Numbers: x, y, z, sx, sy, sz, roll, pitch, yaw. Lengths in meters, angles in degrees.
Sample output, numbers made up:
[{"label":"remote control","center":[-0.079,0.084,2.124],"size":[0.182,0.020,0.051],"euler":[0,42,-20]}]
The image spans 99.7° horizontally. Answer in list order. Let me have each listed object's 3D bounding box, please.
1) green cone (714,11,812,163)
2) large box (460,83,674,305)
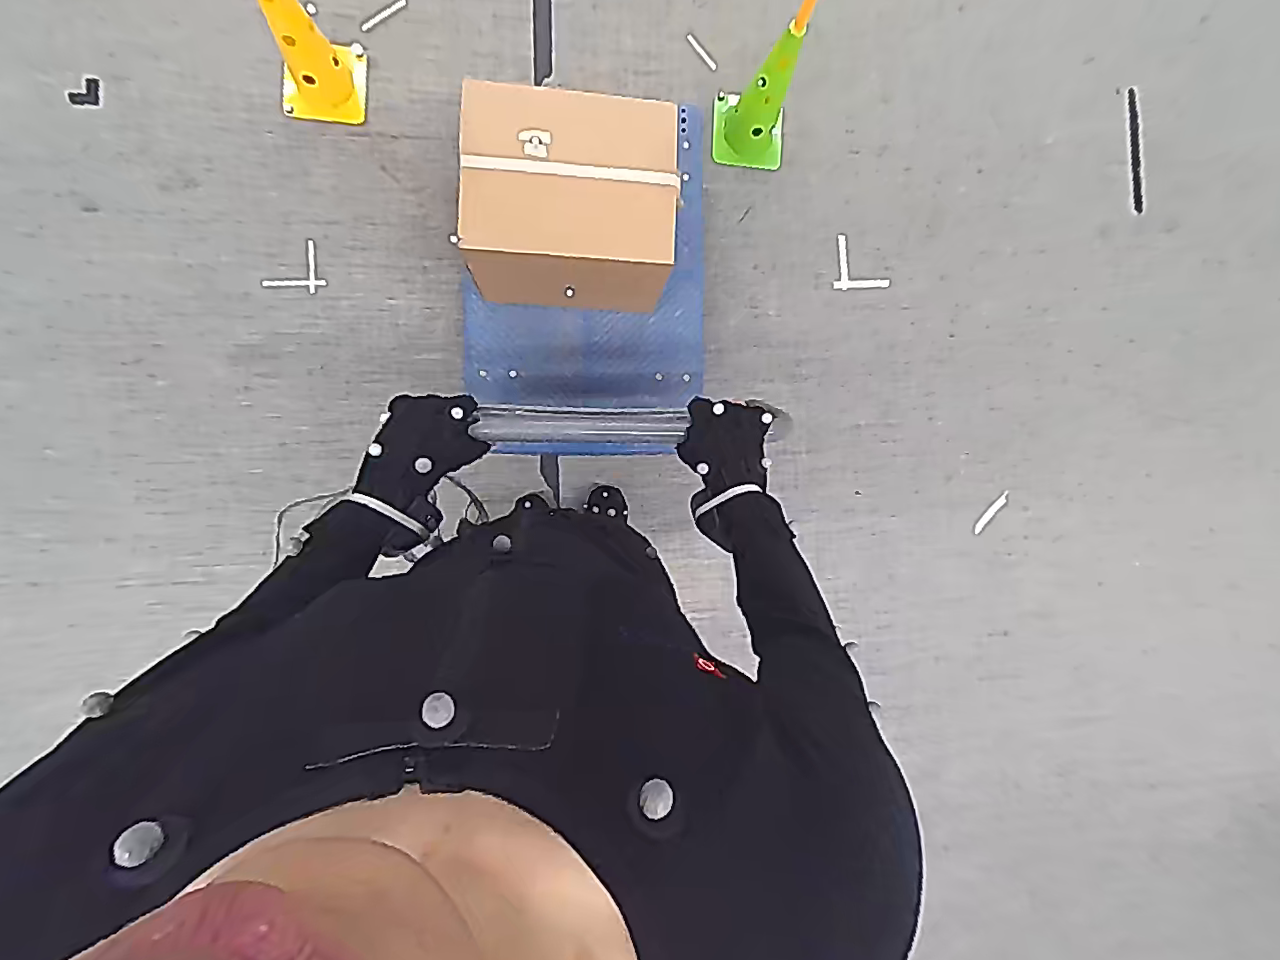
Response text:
[{"label":"green cone","center":[0.333,-1.014,1.372],"size":[0.202,0.368,0.200],"euler":[2,90,-8]},{"label":"large box","center":[-0.146,-0.582,1.168],"size":[0.408,0.320,0.320],"euler":[2,90,-6]}]
